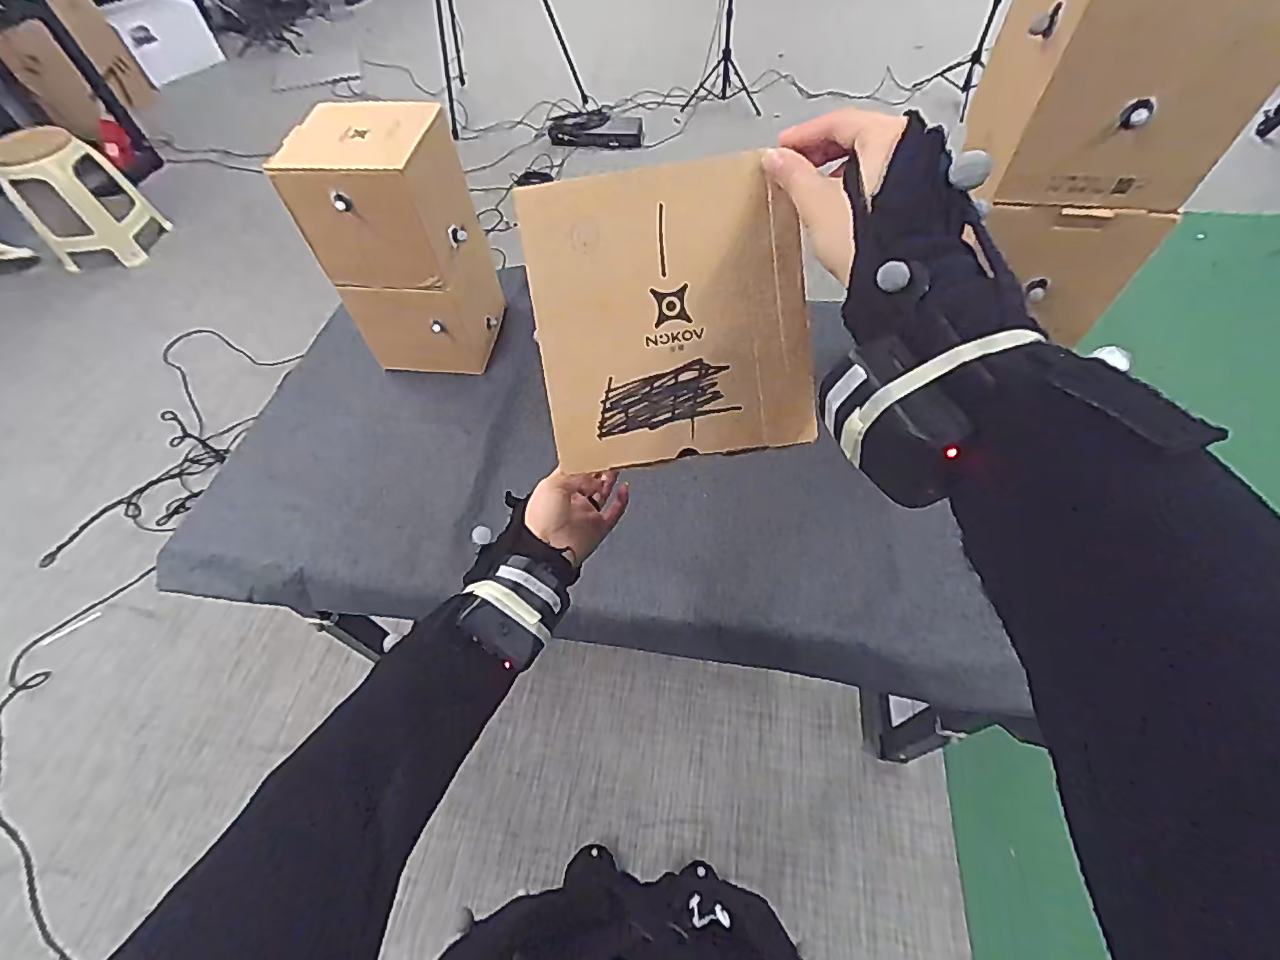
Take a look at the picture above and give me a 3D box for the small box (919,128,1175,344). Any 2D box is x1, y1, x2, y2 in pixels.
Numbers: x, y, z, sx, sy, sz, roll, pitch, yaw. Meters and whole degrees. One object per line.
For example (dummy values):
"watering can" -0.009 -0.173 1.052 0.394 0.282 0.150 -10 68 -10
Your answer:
"small box" 0.441 -0.280 0.624 0.168 0.176 0.179 8 58 9

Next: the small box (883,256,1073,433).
"small box" 0.453 -0.193 0.762 0.168 0.176 0.179 8 58 9

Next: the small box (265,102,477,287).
"small box" -0.346 -0.383 0.737 0.179 0.176 0.168 4 58 4

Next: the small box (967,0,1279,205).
"small box" 0.425 -0.372 0.487 0.168 0.176 0.179 7 57 8

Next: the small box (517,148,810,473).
"small box" 0.020 -0.113 0.407 0.168 0.179 0.176 -7 10 2
